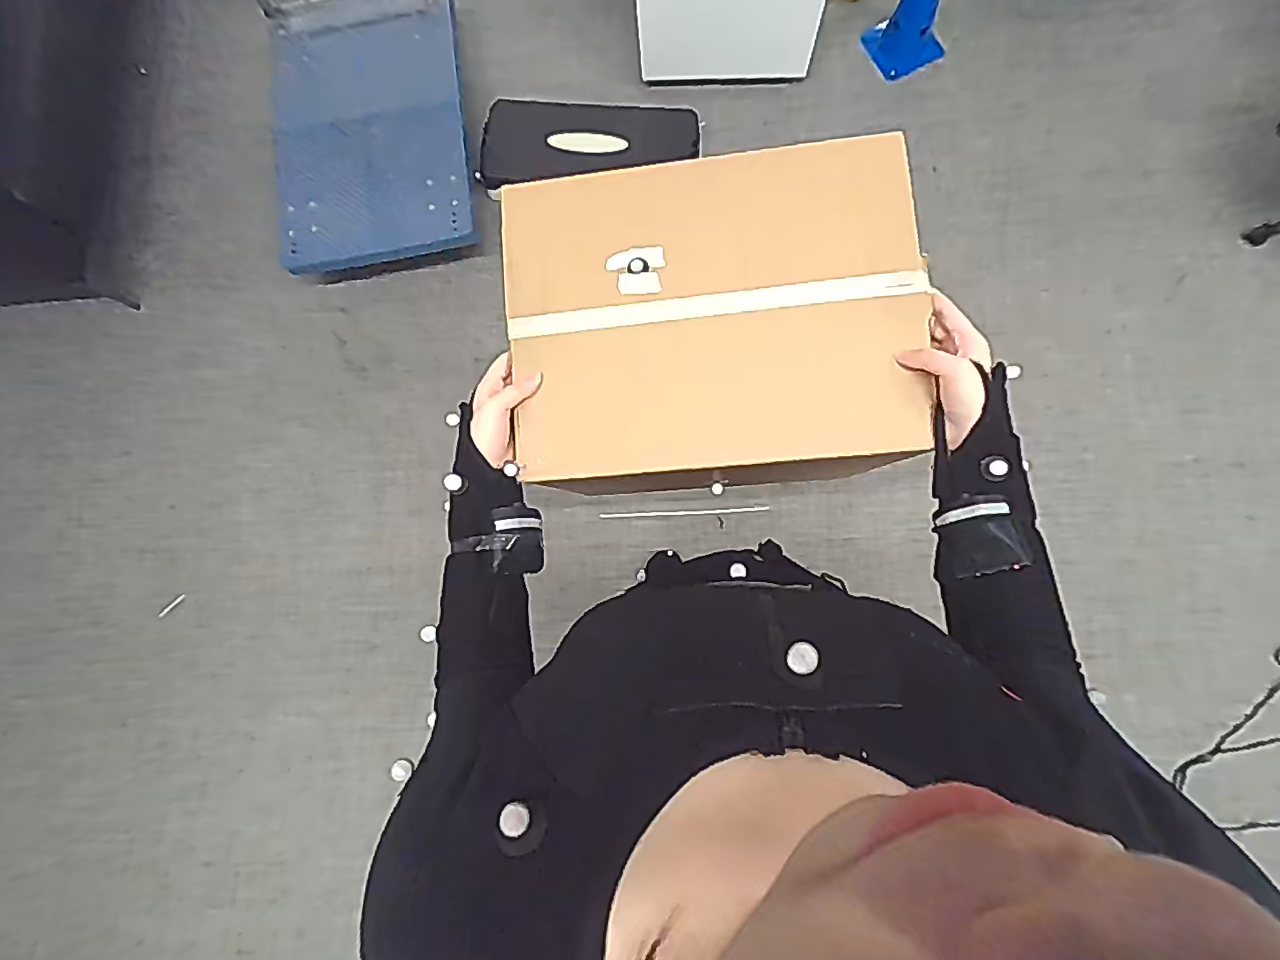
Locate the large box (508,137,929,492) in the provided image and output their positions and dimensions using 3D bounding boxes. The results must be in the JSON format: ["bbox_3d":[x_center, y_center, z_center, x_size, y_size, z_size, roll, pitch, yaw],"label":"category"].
[{"bbox_3d":[0.087,-0.159,0.691,0.408,0.320,0.320,-5,85,8],"label":"large box"}]
